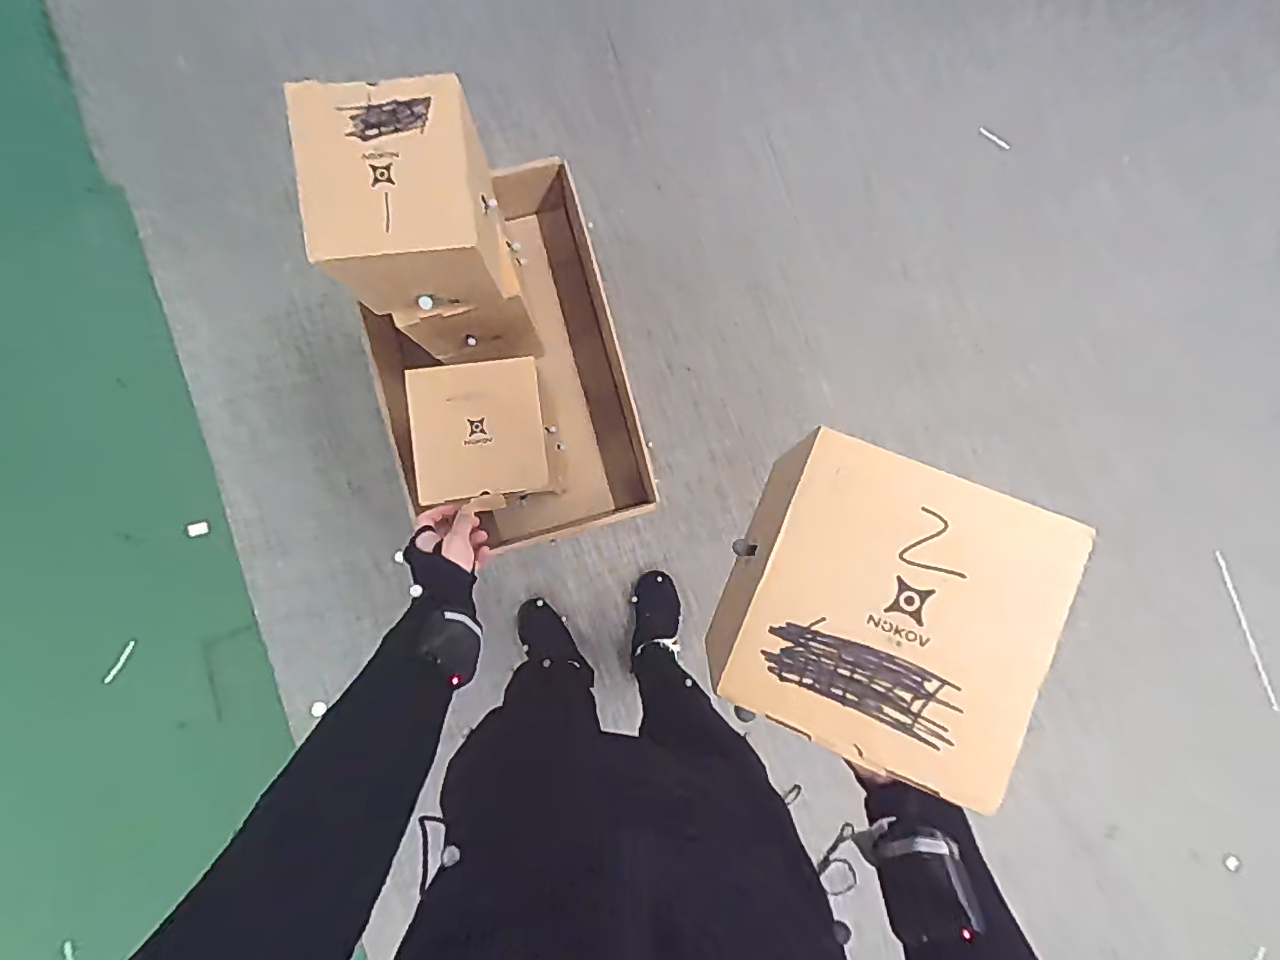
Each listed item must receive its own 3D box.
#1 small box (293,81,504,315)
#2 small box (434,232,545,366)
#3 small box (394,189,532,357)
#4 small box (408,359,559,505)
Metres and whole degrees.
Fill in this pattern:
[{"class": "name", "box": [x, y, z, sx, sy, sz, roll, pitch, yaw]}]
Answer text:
[{"class": "small box", "box": [-0.259, -0.307, 0.617, 0.168, 0.176, 0.179, -7, 90, -4]}, {"class": "small box", "box": [-0.273, -0.296, 0.943, 0.168, 0.176, 0.179, -16, 89, -3]}, {"class": "small box", "box": [-0.264, -0.299, 0.782, 0.168, 0.176, 0.179, -16, 90, -5]}, {"class": "small box", "box": [-0.210, -0.058, 0.768, 0.168, 0.176, 0.179, -7, 86, -4]}]
